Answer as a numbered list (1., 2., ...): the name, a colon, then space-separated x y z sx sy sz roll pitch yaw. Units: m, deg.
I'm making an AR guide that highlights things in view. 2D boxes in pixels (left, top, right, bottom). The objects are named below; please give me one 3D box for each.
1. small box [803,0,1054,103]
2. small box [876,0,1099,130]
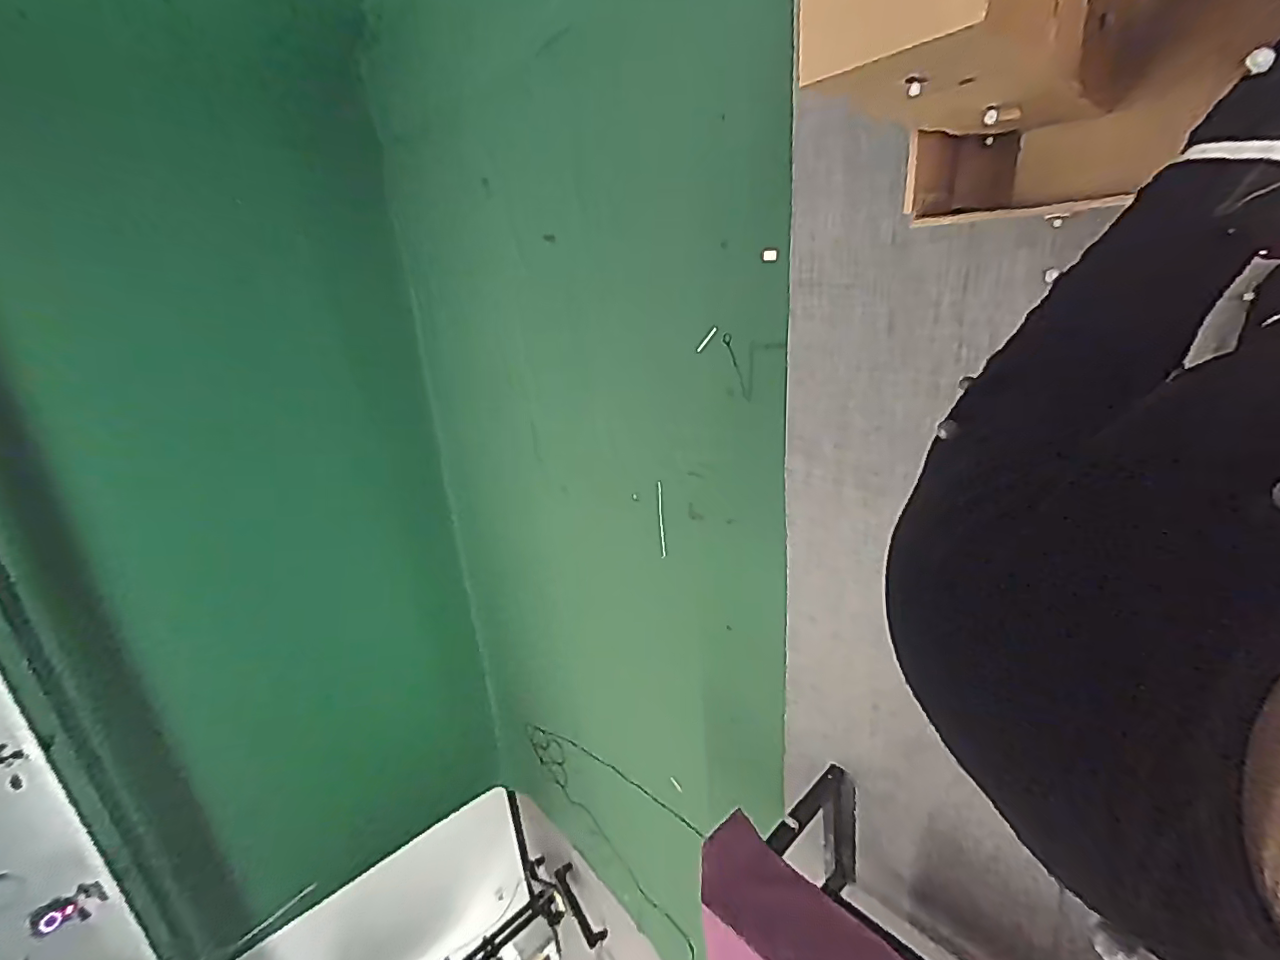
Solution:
1. small box: 0.273 -0.476 0.503 0.168 0.176 0.179 19 119 46
2. small box: 0.394 -0.517 0.607 0.179 0.176 0.168 16 117 47
